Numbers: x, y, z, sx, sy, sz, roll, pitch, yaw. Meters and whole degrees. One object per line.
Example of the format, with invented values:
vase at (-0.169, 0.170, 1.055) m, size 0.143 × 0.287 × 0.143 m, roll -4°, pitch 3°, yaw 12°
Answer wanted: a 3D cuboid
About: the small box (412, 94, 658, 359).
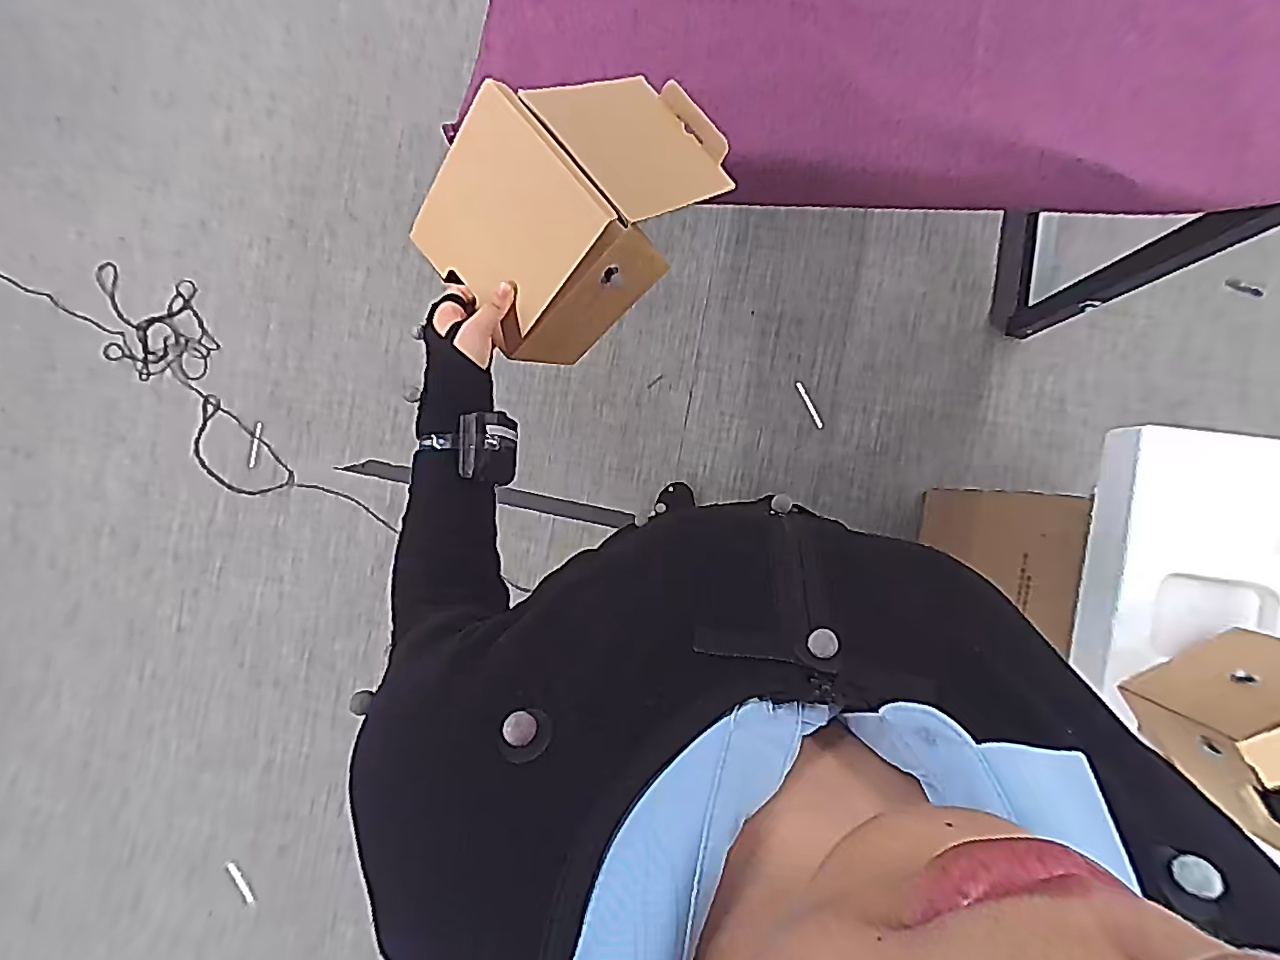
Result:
small box at (-0.098, -0.253, 0.593) m, size 0.179 × 0.176 × 0.168 m, roll -41°, pitch 85°, yaw 19°
